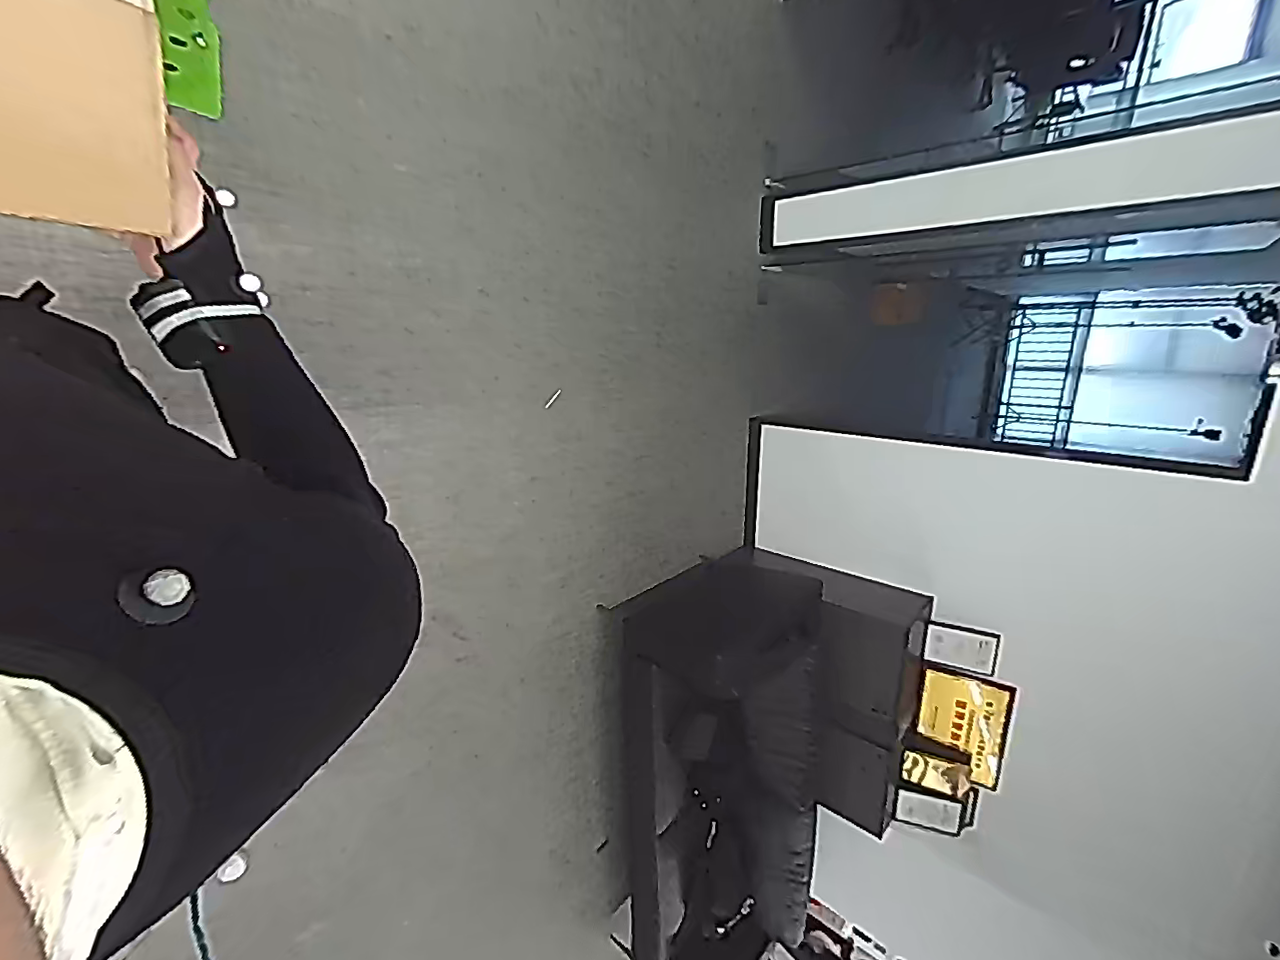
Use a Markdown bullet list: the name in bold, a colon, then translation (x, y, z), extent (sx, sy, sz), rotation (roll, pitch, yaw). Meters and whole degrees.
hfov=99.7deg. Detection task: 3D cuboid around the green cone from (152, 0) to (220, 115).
- **green cone**: translation (-0.888, -0.886, 1.032), extent (0.200, 0.368, 0.202), rotation (-8, 104, -48)
